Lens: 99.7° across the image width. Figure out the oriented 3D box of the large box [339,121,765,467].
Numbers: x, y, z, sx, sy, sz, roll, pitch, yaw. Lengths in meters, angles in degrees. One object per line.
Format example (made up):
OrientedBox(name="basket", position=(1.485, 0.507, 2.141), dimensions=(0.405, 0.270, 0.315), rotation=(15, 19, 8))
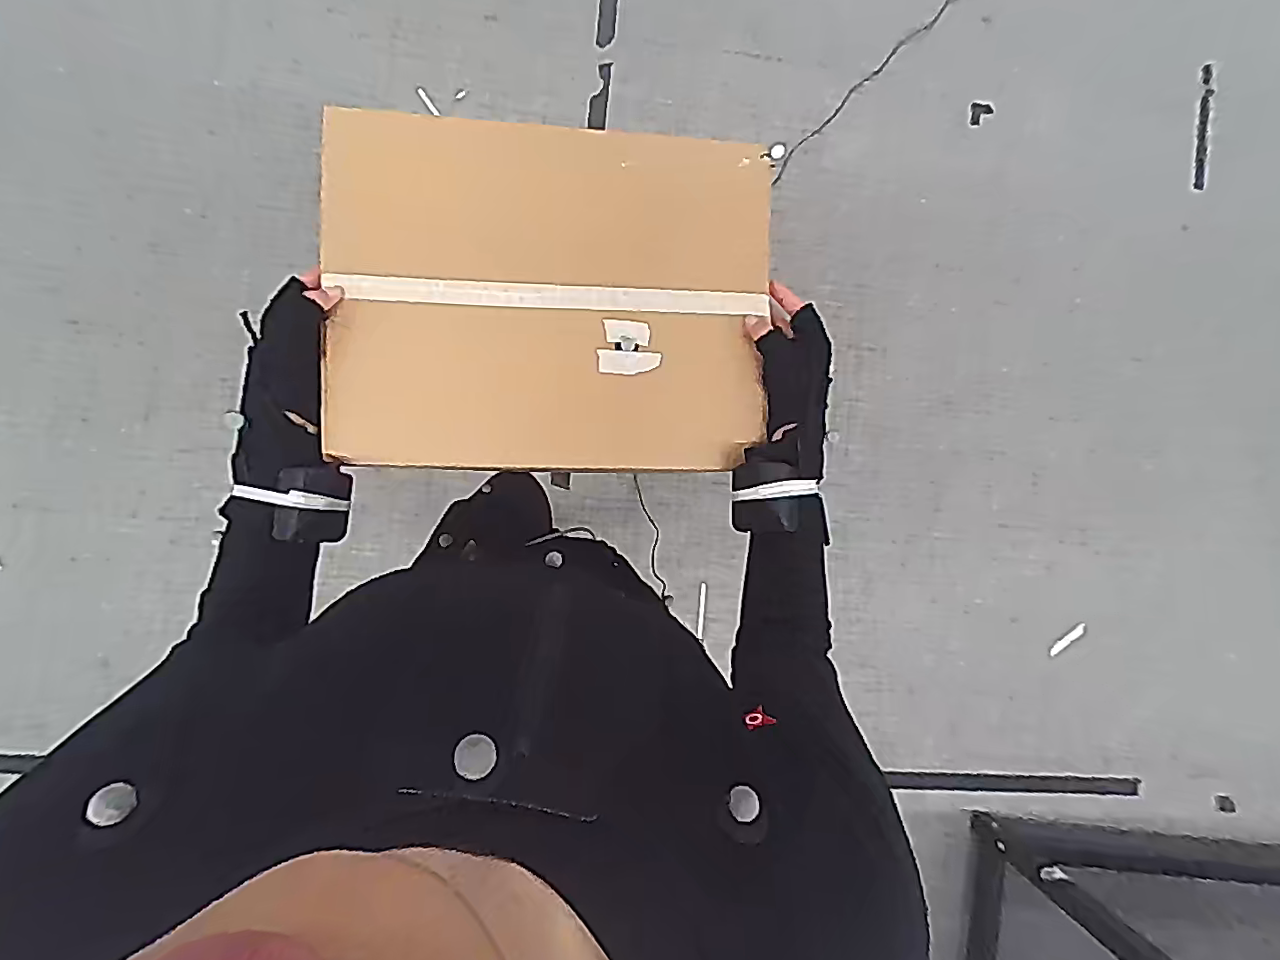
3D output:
OrientedBox(name="large box", position=(-0.093, -0.175, 0.659), dimensions=(0.408, 0.320, 0.320), rotation=(0, 92, -7))
